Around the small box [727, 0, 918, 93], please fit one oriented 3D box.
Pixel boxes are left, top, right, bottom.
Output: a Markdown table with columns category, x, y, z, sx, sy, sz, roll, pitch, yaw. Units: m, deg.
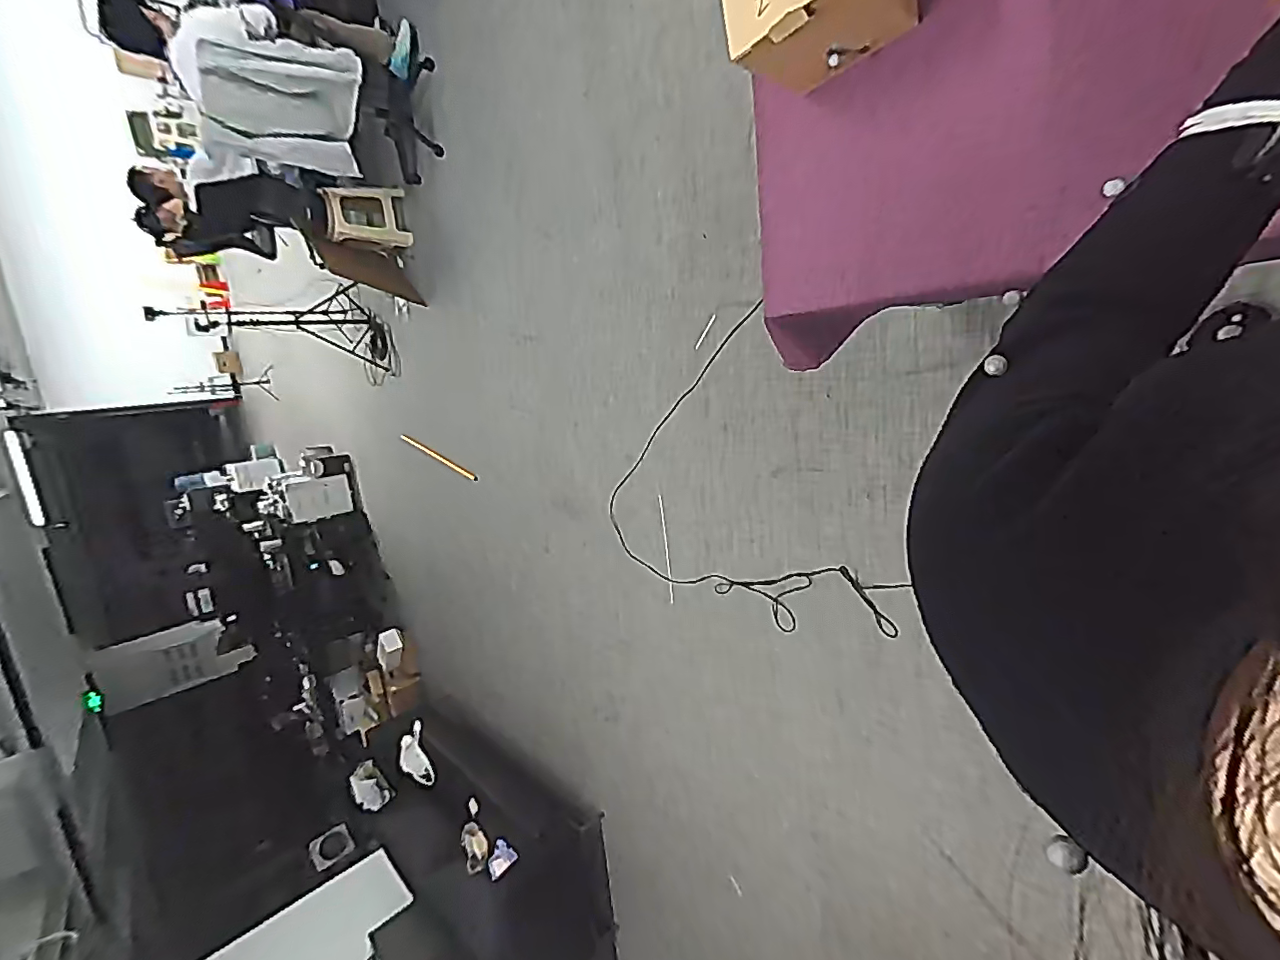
| category | x | y | z | sx | sy | sz | roll | pitch | yaw |
| --- | --- | --- | --- | --- | --- | --- | --- | --- | --- |
| small box | 0.220 | -0.624 | 0.662 | 0.168 | 0.176 | 0.179 | -1 | 101 | 48 |
